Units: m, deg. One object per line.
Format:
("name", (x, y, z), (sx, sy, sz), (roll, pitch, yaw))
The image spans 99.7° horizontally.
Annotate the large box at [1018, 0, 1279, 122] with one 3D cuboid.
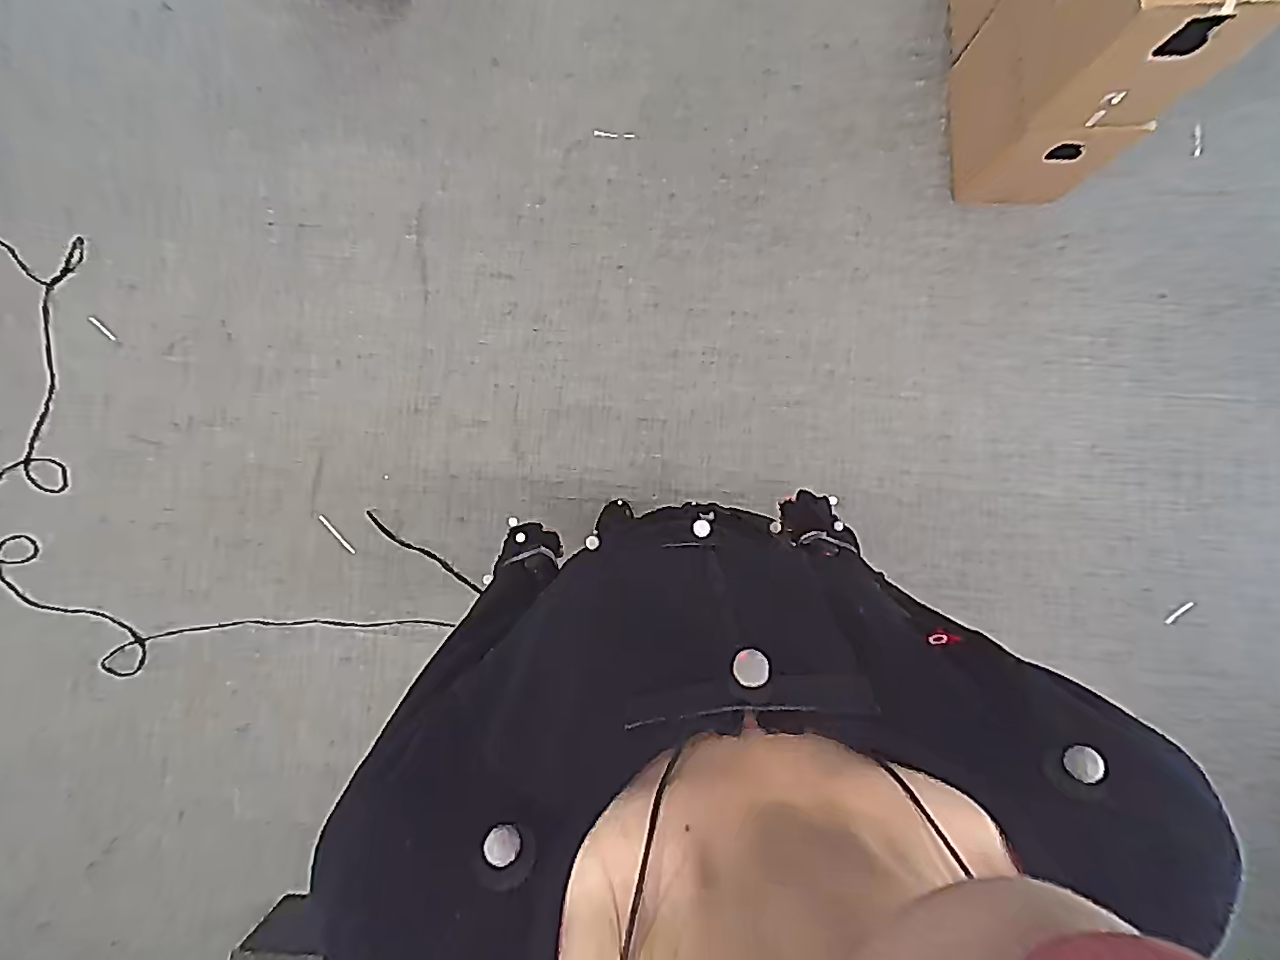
("large box", (1.057, -1.054, 1.137), (0.320, 0.320, 0.408), (-2, 86, 1))
